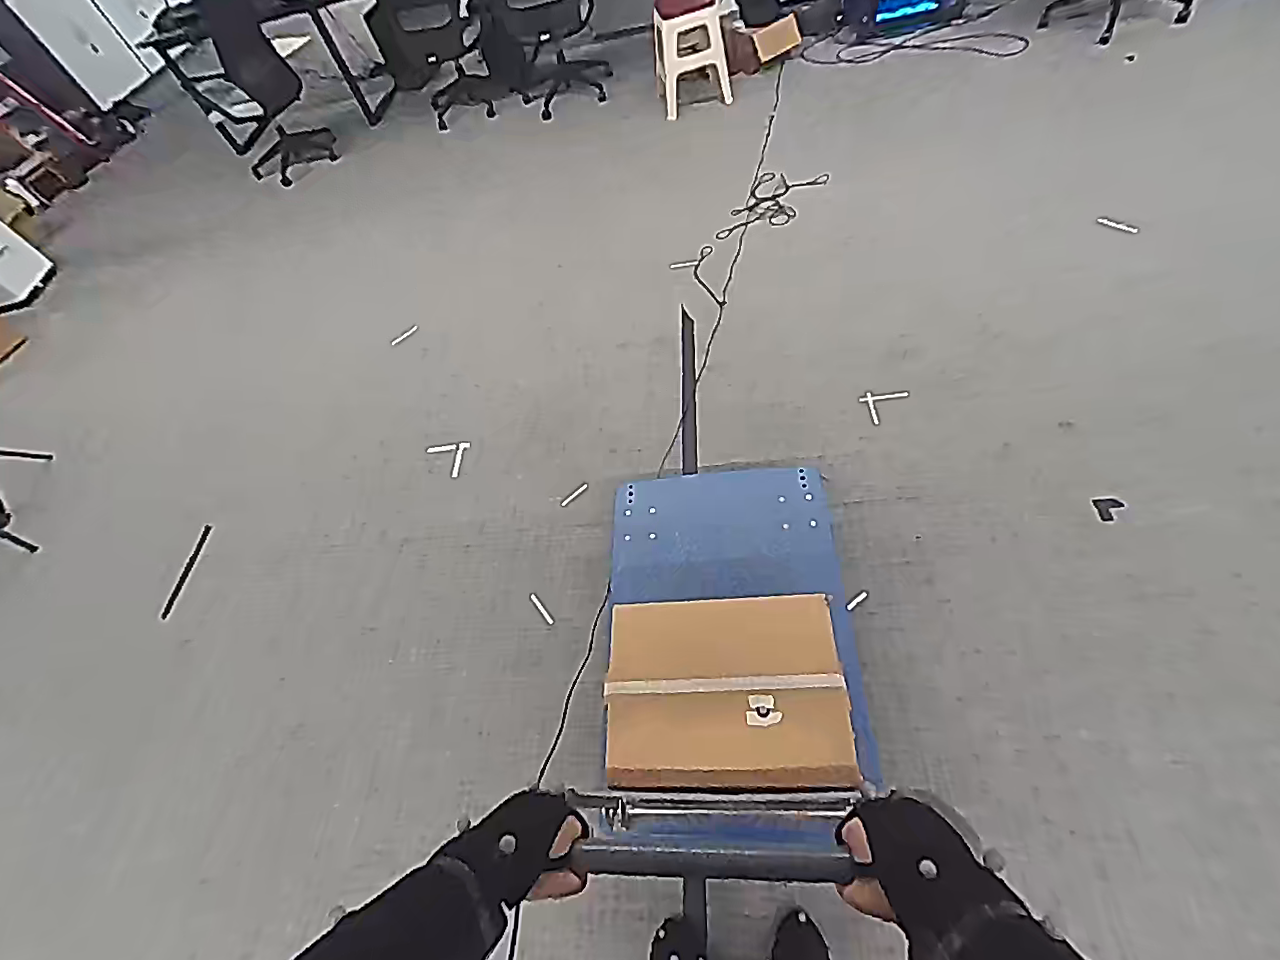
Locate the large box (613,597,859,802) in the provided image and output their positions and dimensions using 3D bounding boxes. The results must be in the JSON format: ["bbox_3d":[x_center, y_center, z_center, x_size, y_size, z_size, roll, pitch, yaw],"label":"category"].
[{"bbox_3d":[0.174,0.448,1.076,0.408,0.320,0.320,-5,56,9],"label":"large box"}]
